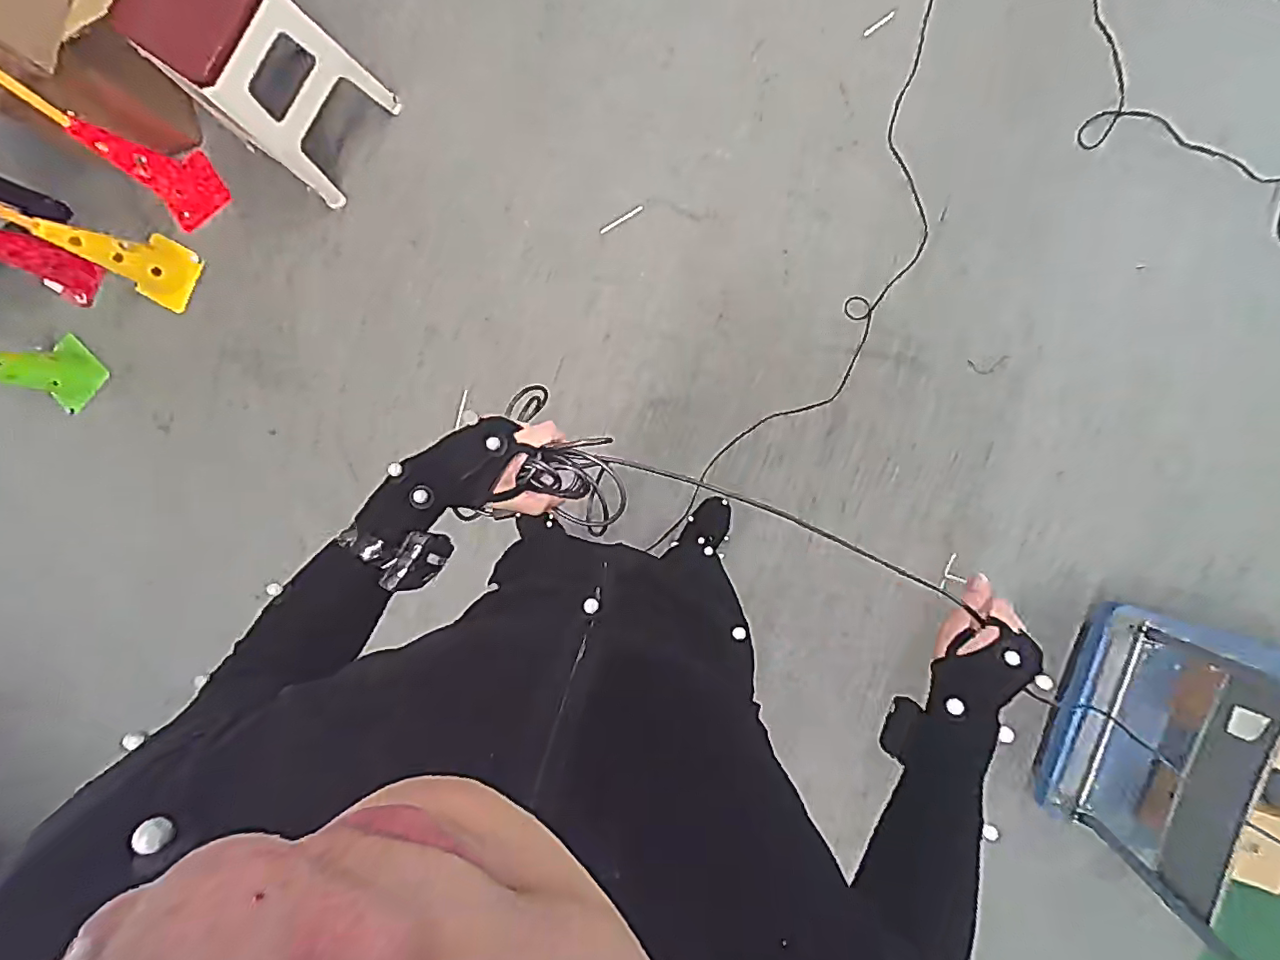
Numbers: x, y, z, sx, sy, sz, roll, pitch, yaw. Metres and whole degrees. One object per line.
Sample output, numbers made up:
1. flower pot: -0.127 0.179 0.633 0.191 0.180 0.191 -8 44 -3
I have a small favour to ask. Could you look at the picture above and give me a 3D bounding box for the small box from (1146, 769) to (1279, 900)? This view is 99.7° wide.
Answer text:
1. small box: 1.353 0.810 1.253 0.179 0.176 0.168 18 94 6
